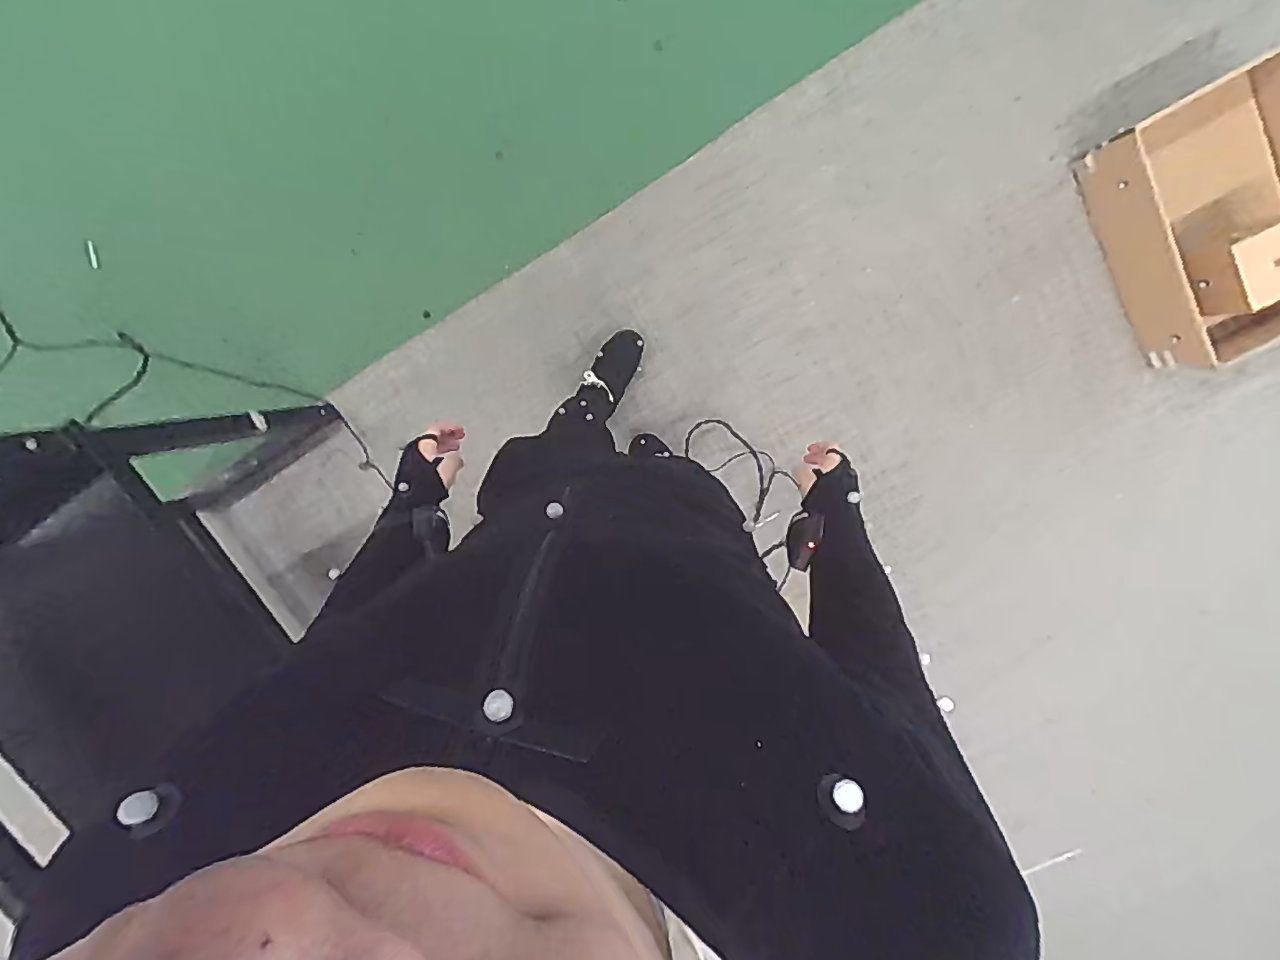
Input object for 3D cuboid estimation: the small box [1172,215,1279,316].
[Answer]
[{"bbox_3d":[1.458,-0.516,1.311,0.179,0.176,0.168,-27,98,8],"label":"small box"}]
